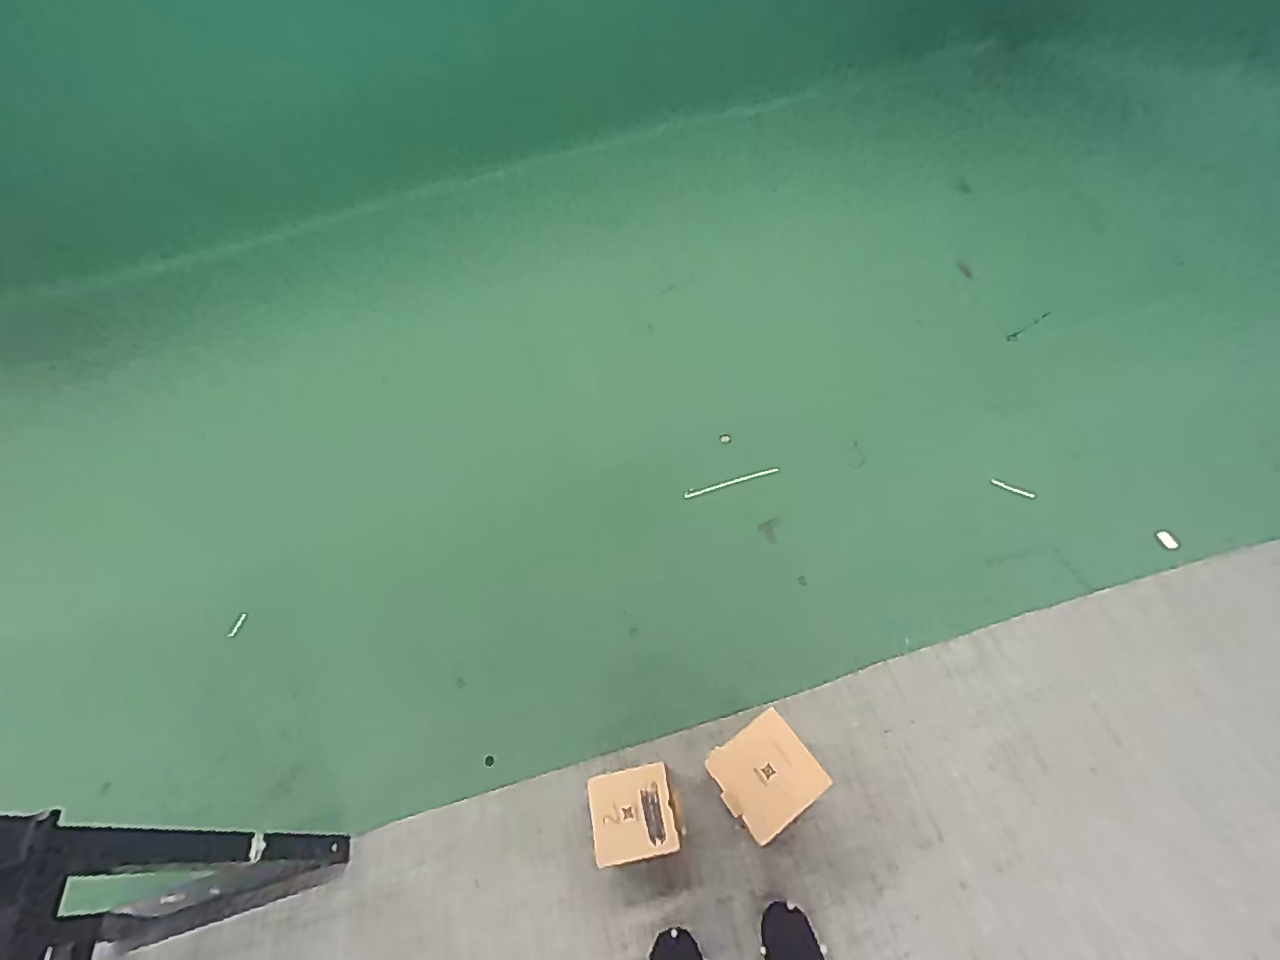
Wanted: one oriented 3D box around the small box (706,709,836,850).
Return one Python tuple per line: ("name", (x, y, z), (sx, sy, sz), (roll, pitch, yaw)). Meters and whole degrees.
("small box", (0.247, 0.582, 1.049), (0.179, 0.176, 0.168), (-33, 59, -14))
